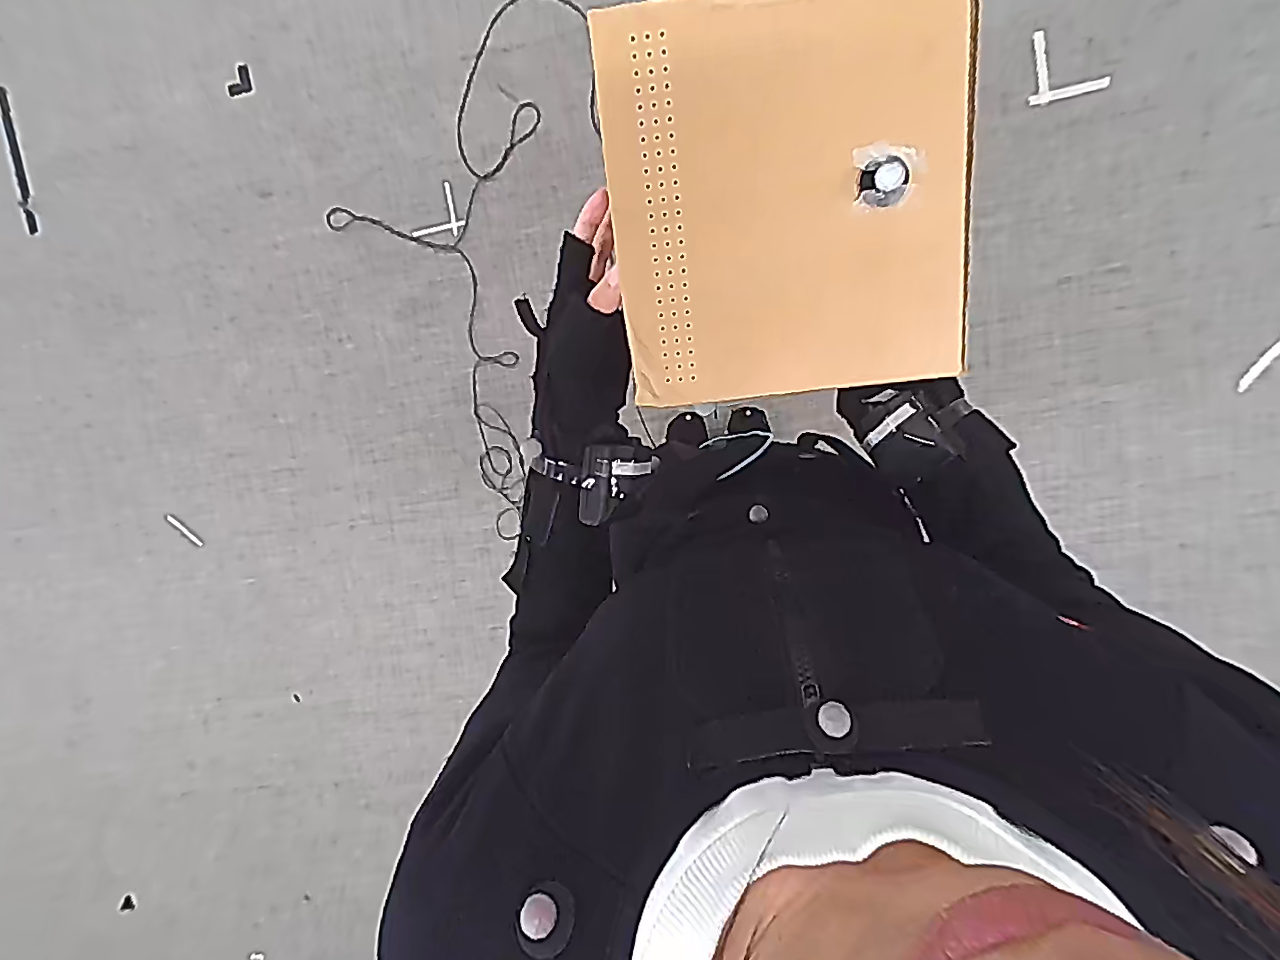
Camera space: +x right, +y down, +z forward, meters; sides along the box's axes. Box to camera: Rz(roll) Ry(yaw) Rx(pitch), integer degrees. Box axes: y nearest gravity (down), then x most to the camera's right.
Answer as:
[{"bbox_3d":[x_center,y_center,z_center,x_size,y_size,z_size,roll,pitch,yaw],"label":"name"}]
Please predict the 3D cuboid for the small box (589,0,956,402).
[{"bbox_3d":[0.067,-0.154,0.338,0.176,0.168,0.179,-6,106,5],"label":"small box"}]
